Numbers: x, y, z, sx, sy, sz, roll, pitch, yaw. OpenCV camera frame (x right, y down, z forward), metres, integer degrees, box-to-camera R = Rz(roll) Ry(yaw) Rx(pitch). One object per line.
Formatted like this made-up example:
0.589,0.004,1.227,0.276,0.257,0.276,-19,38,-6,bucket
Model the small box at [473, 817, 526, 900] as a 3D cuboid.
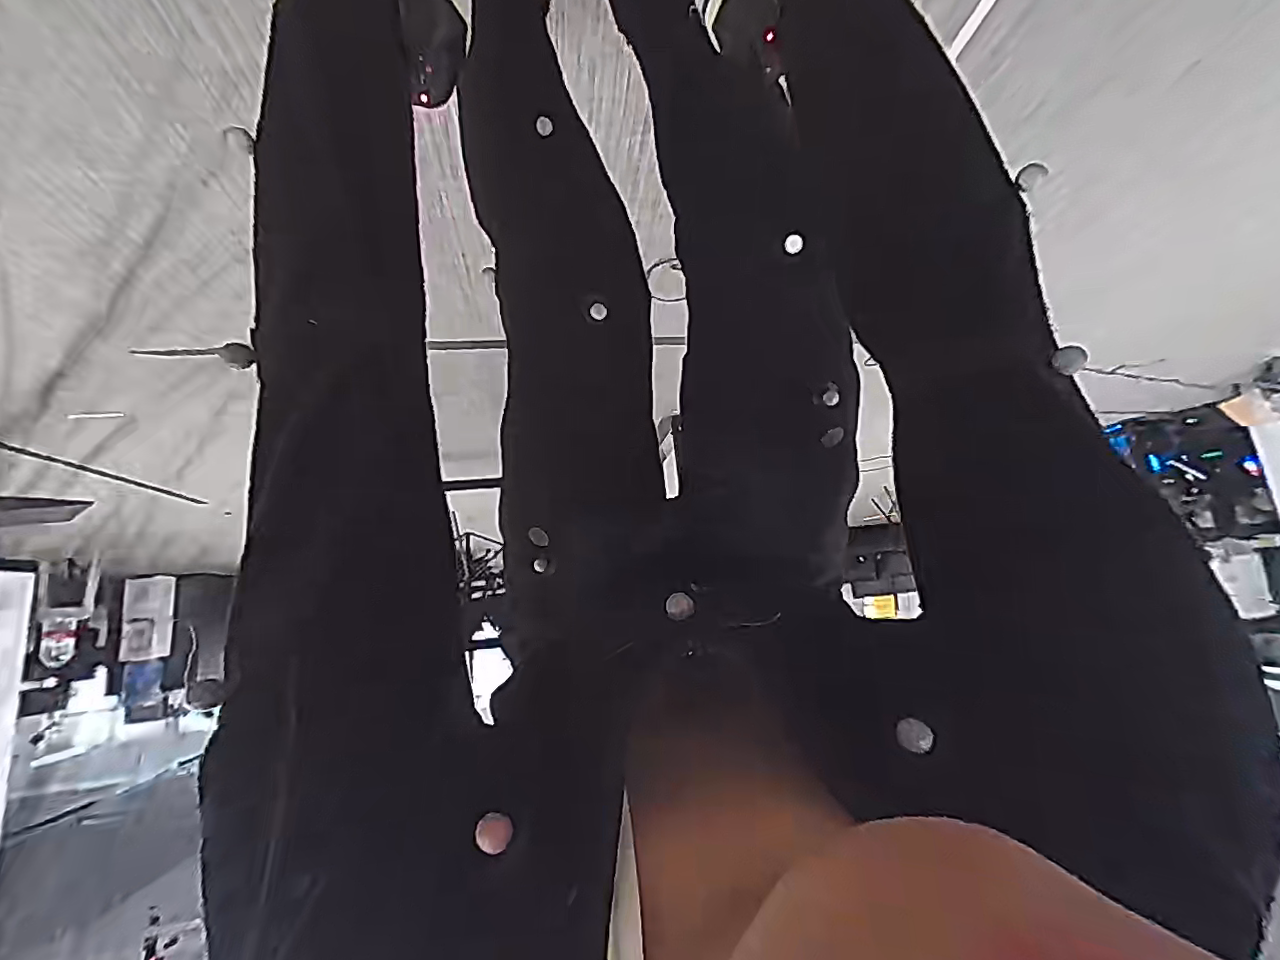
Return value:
-0.491,1.311,1.883,0.168,0.176,0.179,-4,170,-15,small box
